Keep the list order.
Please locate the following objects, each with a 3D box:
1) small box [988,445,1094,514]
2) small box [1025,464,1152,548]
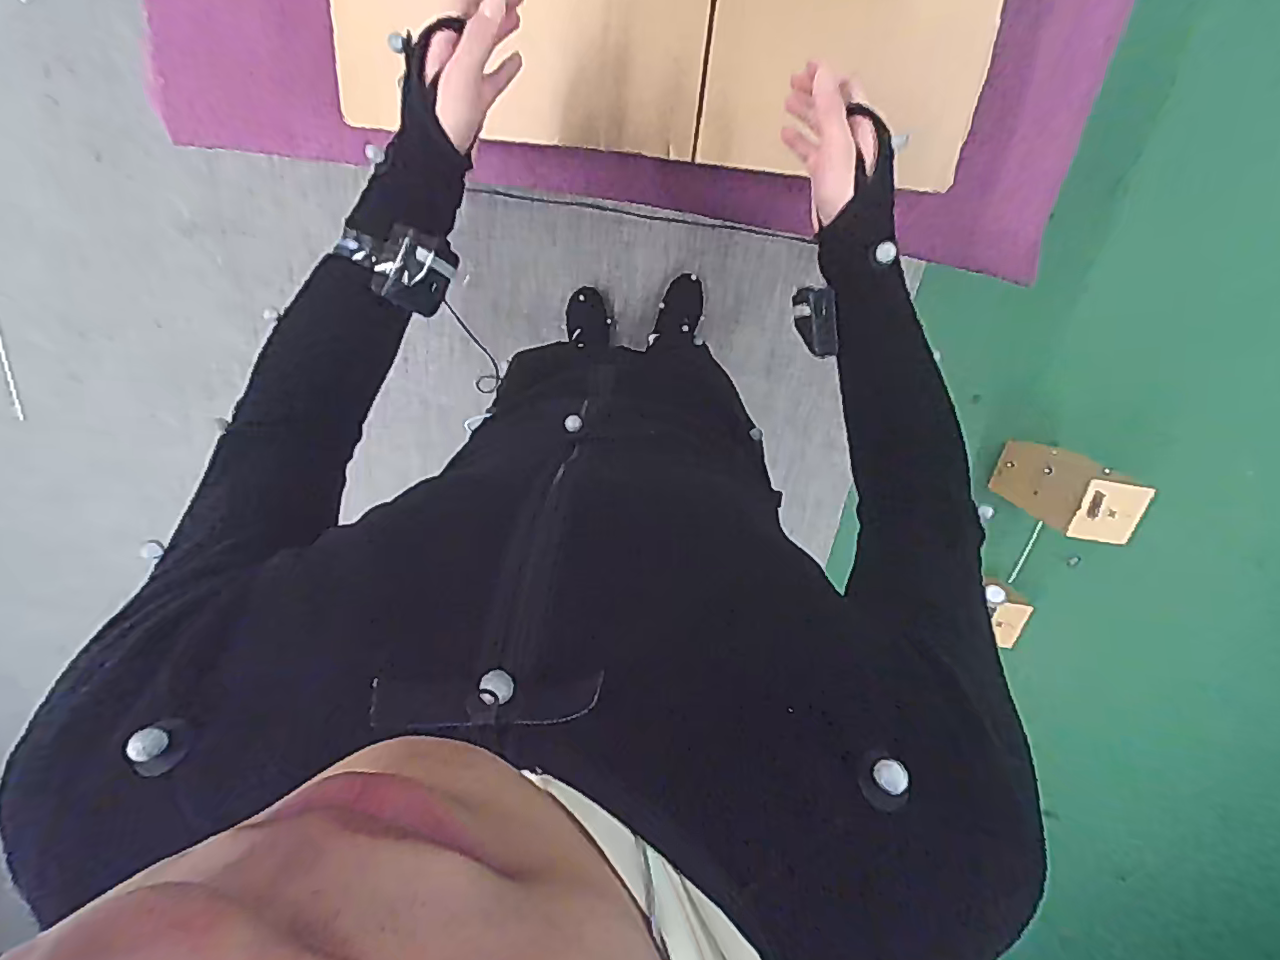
[{"bbox_3d":[1.203,0.005,1.624,0.179,0.176,0.168,9,111,-4],"label":"small box"},{"bbox_3d":[1.206,0.064,1.471,0.179,0.176,0.168,8,111,-5],"label":"small box"}]
